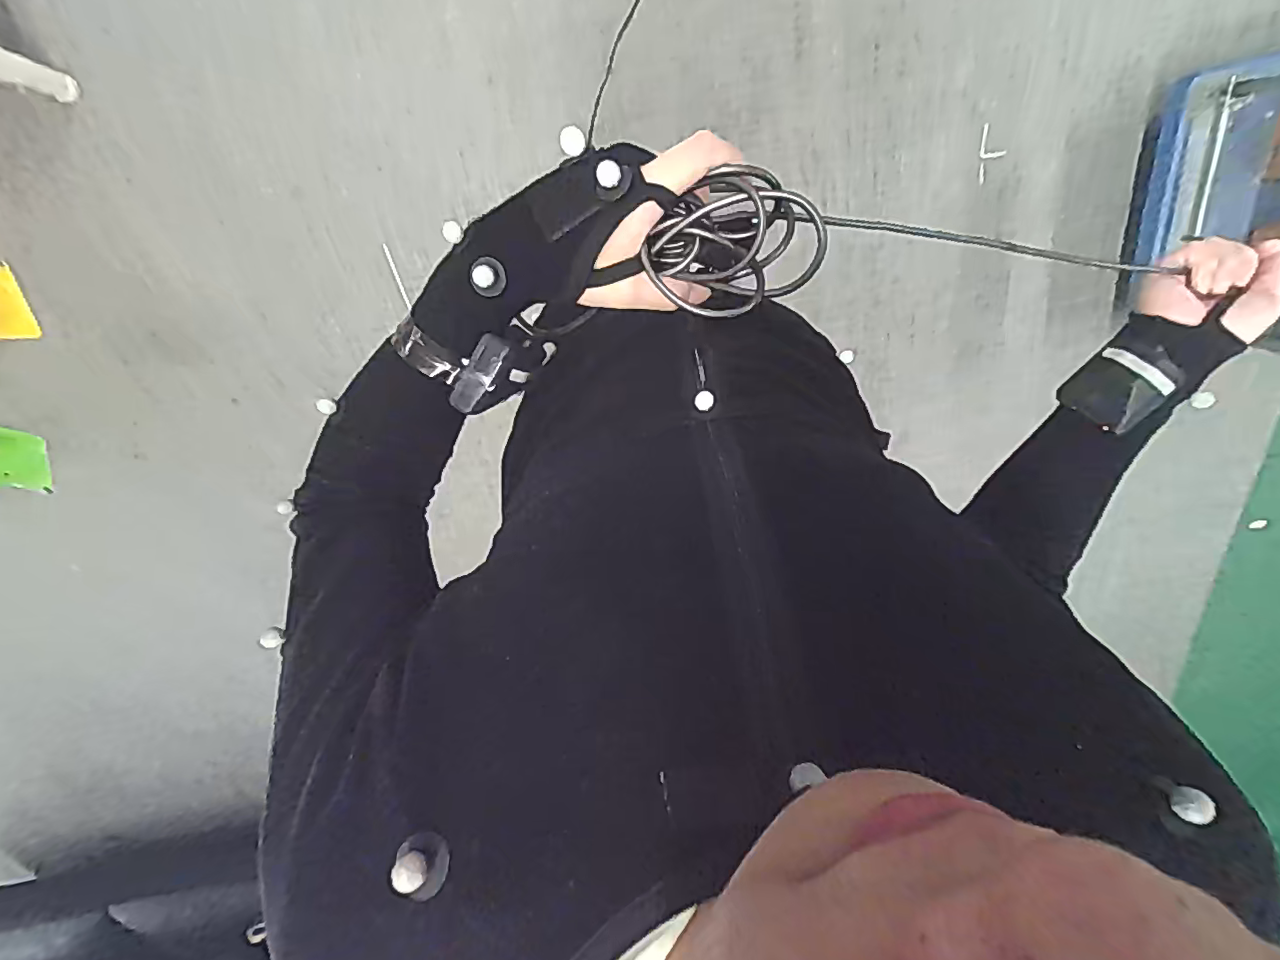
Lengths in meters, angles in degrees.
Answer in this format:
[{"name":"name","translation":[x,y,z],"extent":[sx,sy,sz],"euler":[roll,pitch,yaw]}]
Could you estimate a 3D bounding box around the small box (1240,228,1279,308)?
[{"name":"small box","translation":[1.548,-0.488,1.220],"extent":[0.179,0.176,0.168],"euler":[-10,116,5]}]
